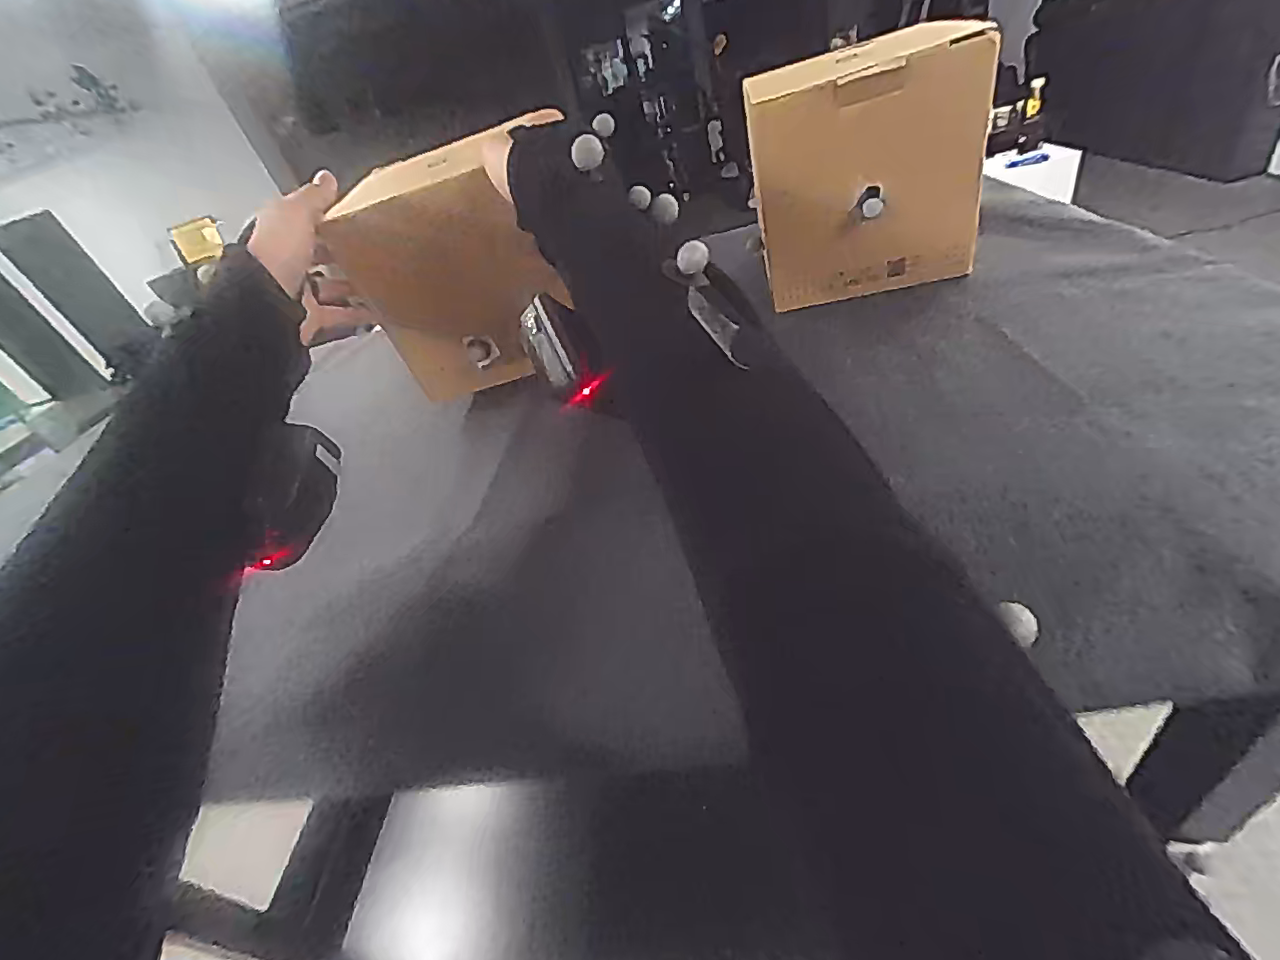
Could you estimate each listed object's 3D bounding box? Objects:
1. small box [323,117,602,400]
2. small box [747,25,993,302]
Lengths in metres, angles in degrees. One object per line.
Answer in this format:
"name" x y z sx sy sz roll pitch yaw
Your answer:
"small box" -0.139 -0.201 0.495 0.168 0.176 0.179 -16 41 5
"small box" 0.193 -0.278 0.495 0.168 0.176 0.179 -7 40 15
